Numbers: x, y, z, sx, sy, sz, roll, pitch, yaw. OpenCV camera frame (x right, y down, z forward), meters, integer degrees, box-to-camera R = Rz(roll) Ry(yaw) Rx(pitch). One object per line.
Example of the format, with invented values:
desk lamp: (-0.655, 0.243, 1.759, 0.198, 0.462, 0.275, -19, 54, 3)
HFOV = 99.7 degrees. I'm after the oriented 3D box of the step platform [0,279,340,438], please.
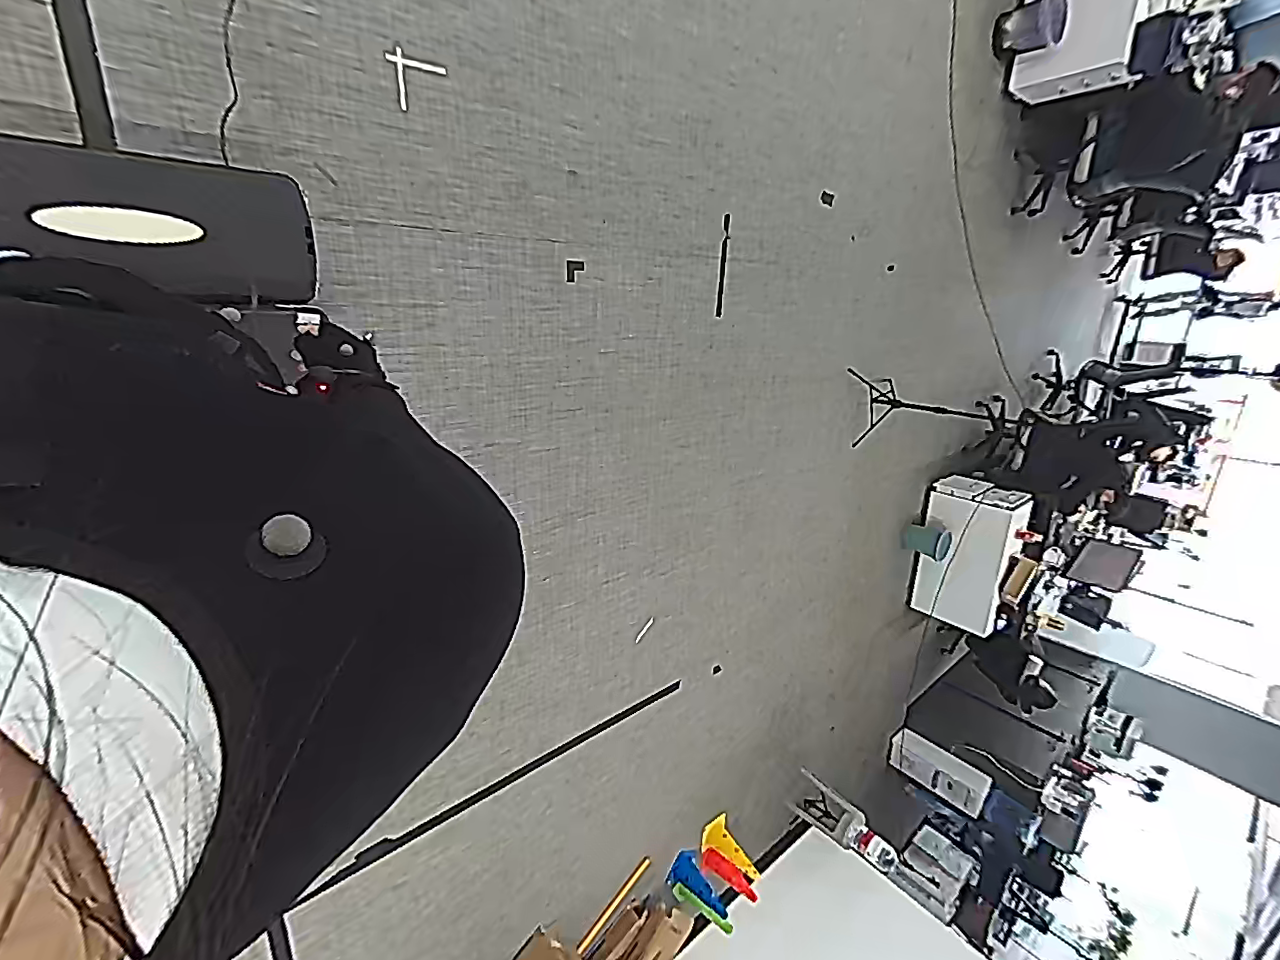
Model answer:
step platform: (-1.028, -0.267, 1.148, 0.684, 0.204, 0.286, -13, 112, -36)
